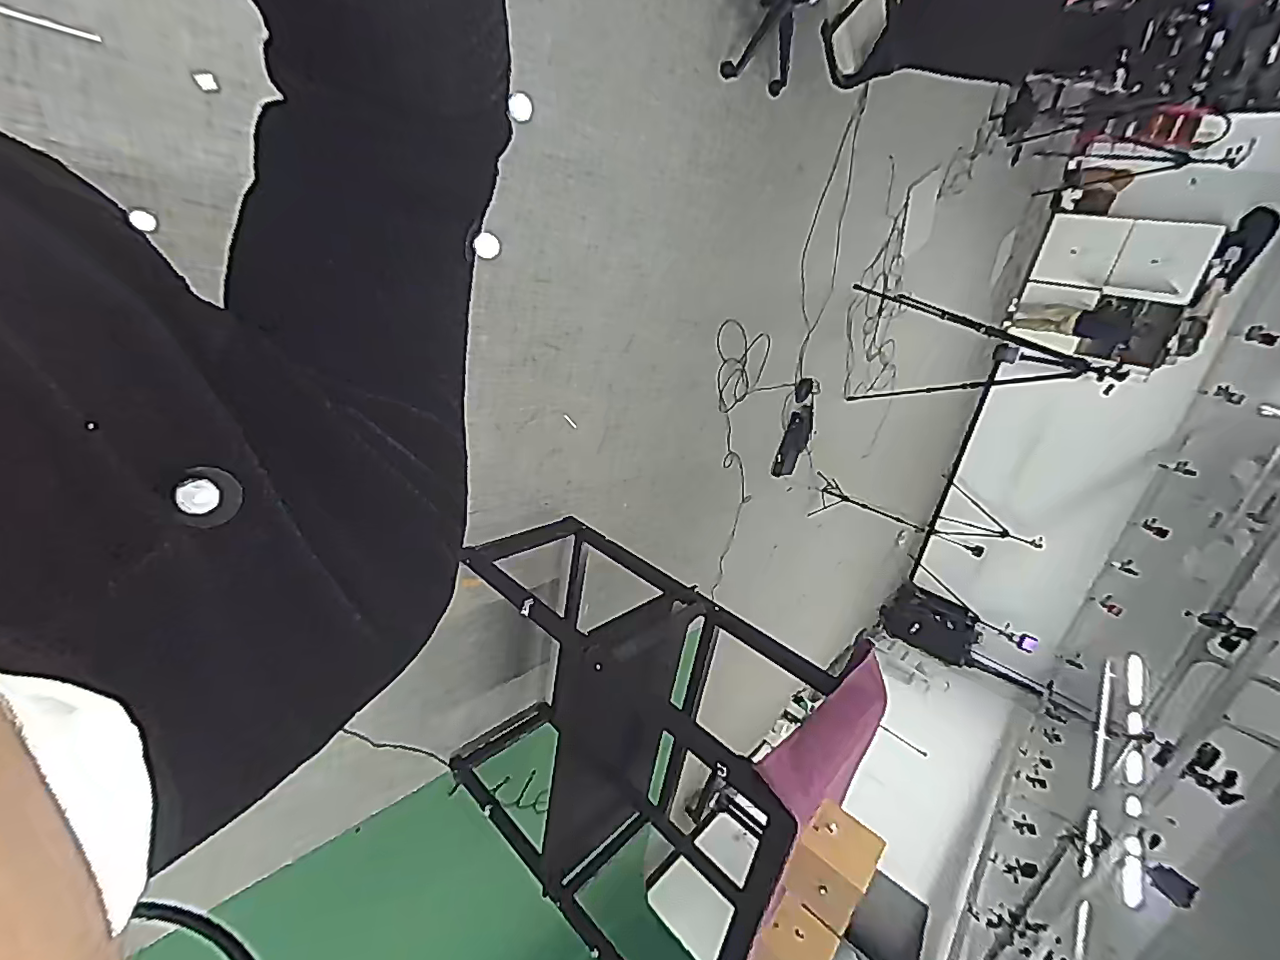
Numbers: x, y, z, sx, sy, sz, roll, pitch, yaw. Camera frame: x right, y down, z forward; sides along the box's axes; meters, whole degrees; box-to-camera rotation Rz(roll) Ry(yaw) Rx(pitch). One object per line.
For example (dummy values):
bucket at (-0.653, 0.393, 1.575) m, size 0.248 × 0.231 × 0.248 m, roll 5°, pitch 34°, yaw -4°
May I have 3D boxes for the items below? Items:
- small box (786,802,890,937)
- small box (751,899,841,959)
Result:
small box at (0.484, 0.954, 1.343) m, size 0.168 × 0.176 × 0.179 m, roll -16°, pitch 123°, yaw -46°
small box at (0.421, 1.313, 1.489) m, size 0.168 × 0.176 × 0.179 m, roll -13°, pitch 121°, yaw -47°
